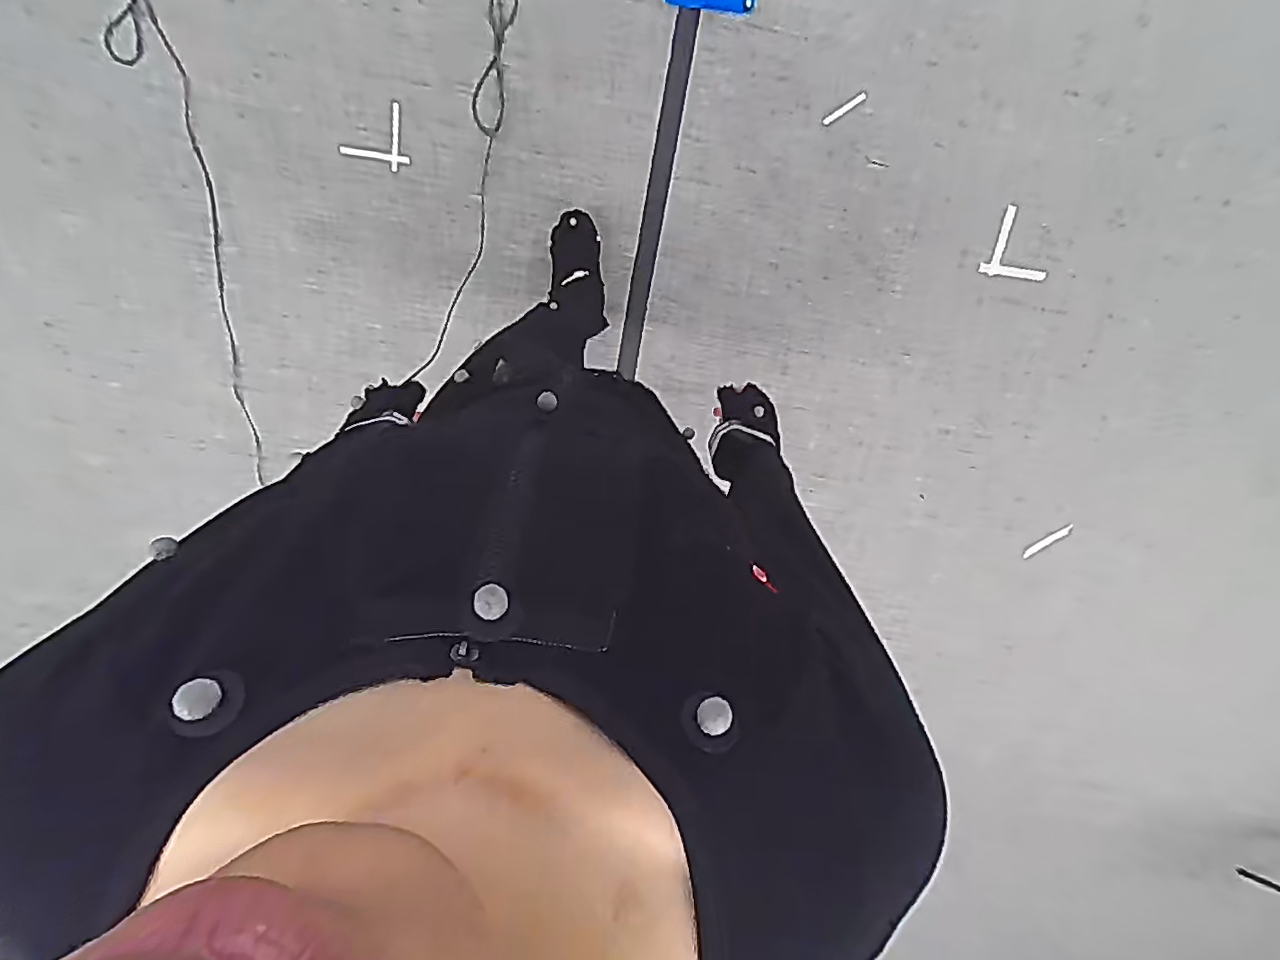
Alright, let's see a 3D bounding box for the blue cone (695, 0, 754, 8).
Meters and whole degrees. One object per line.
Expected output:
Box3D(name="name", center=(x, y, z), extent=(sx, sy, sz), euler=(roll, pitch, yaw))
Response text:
Box3D(name="blue cone", center=(0.169, -1.060, 0.976), extent=(0.192, 0.380, 0.193), euler=(5, 108, -5))
